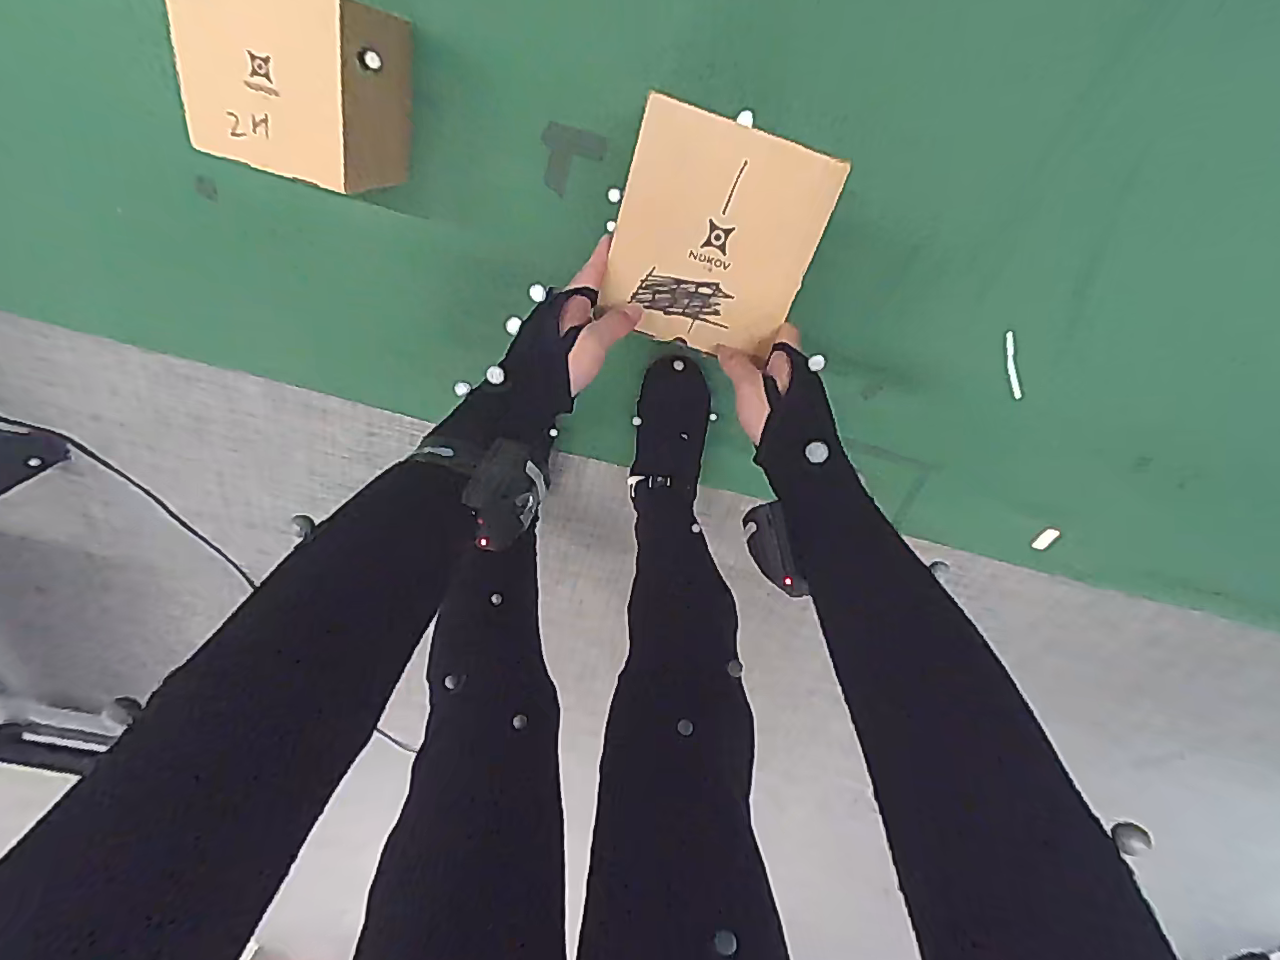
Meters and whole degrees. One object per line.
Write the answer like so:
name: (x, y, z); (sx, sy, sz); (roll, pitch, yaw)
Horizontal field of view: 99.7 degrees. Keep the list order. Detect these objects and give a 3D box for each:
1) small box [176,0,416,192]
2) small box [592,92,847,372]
small box: (-0.368, -0.451, 0.608); (0.168, 0.176, 0.179); (16, 123, -5)
small box: (0.062, -0.232, 0.517); (0.168, 0.176, 0.179); (16, 119, -9)
